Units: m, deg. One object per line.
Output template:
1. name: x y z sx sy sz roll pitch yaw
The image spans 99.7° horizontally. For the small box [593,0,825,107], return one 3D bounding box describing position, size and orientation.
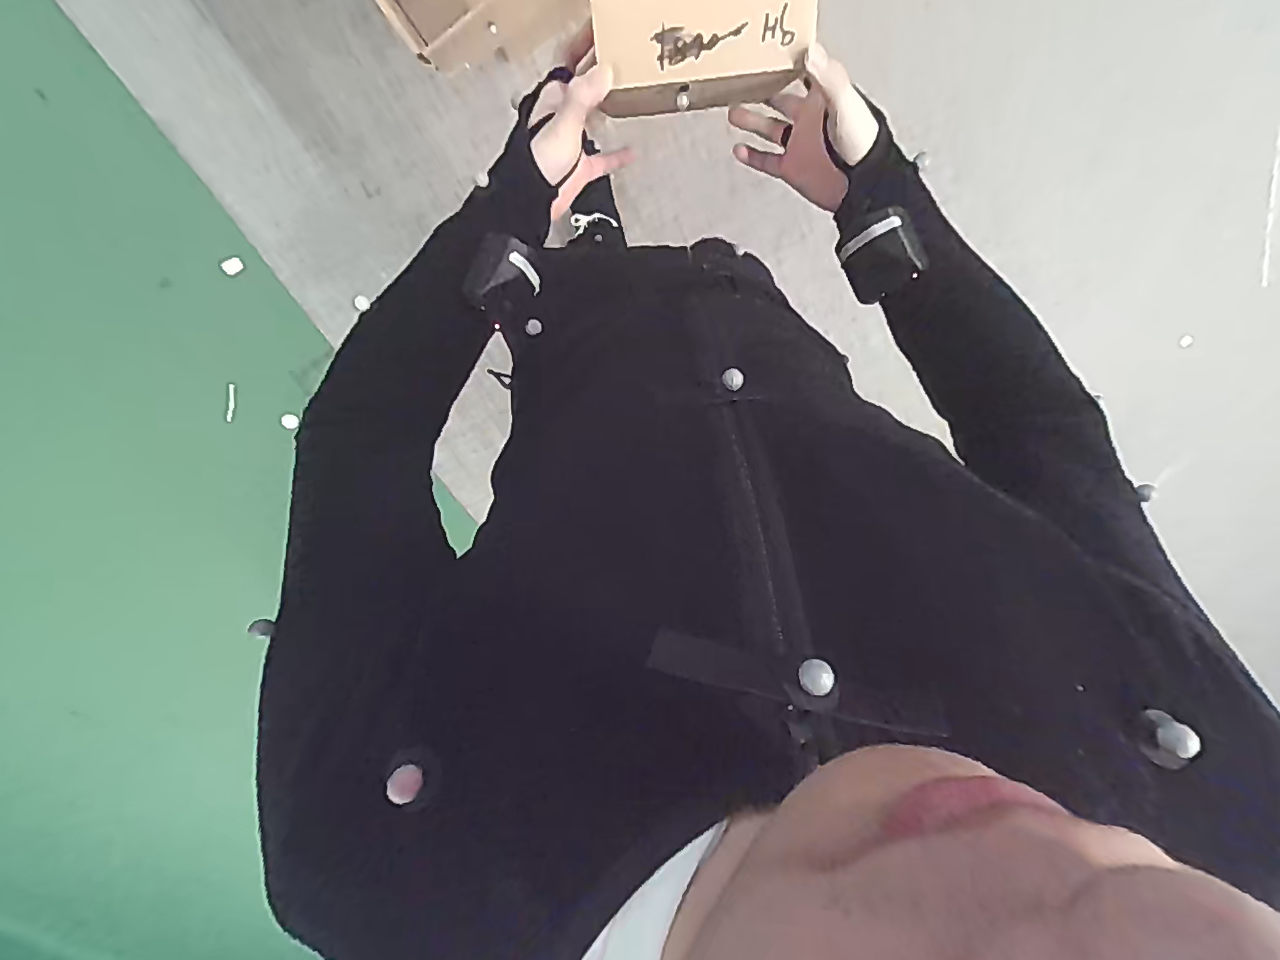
1. small box: 0.043 -0.419 0.427 0.168 0.176 0.179 -4 117 2
